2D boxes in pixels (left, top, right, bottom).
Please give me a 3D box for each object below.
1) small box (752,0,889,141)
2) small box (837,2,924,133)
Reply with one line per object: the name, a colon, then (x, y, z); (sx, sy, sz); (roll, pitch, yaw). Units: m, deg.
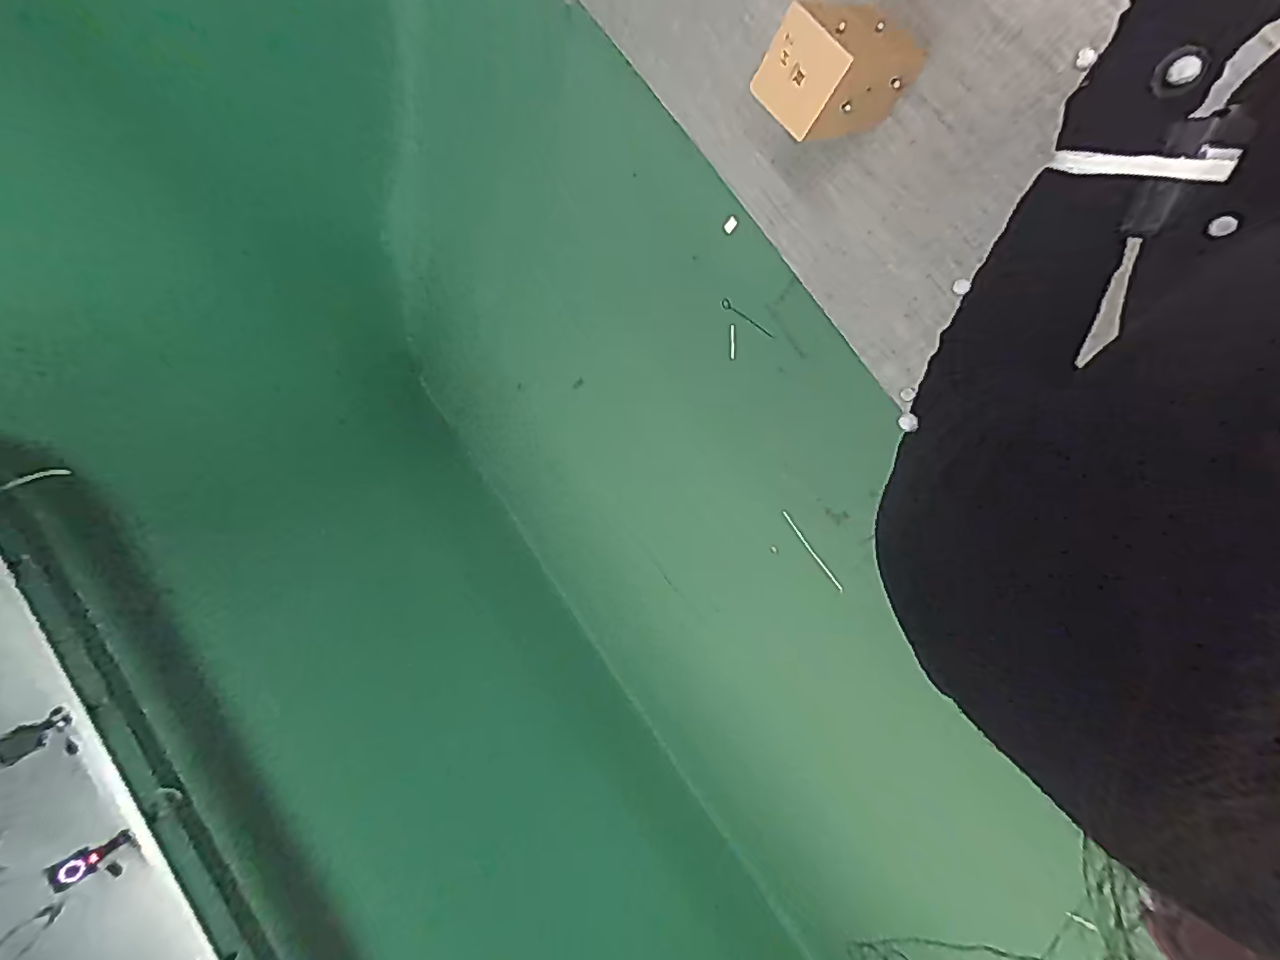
small box: (0.378, -0.850, 1.126); (0.179, 0.176, 0.168); (53, 145, 8)
small box: (0.494, -0.925, 1.215); (0.179, 0.176, 0.168); (54, 146, 7)
